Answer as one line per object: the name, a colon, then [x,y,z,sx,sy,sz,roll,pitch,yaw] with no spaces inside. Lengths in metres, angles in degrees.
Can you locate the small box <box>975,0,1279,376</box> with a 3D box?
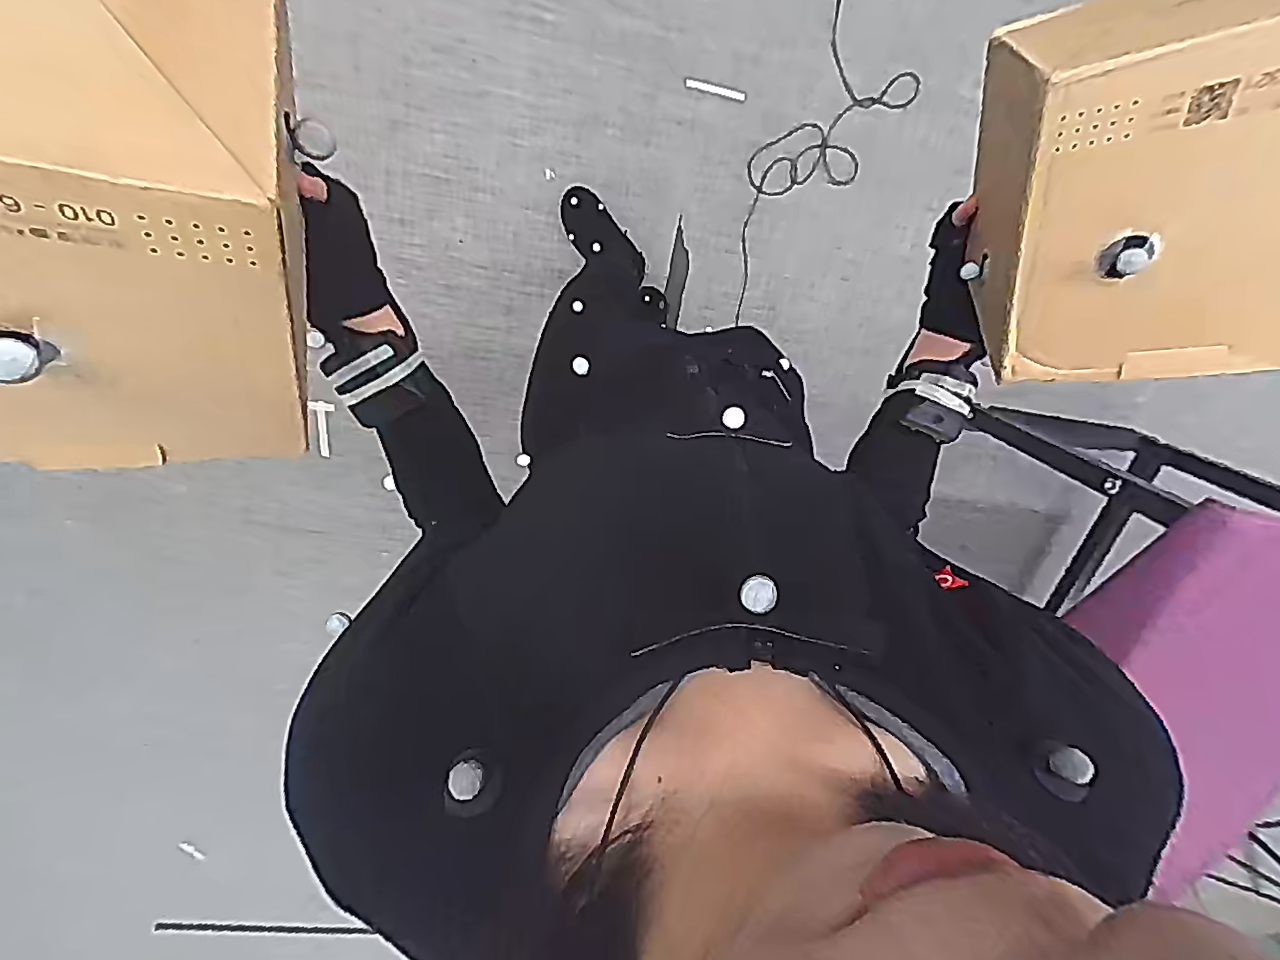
small box: [0.299,-0.180,0.298,0.168,0.179,0.176,1,134,23]

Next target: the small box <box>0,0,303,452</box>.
small box: [-0.234,-0.126,0.207,0.168,0.179,0.176,-2,155,-29]
